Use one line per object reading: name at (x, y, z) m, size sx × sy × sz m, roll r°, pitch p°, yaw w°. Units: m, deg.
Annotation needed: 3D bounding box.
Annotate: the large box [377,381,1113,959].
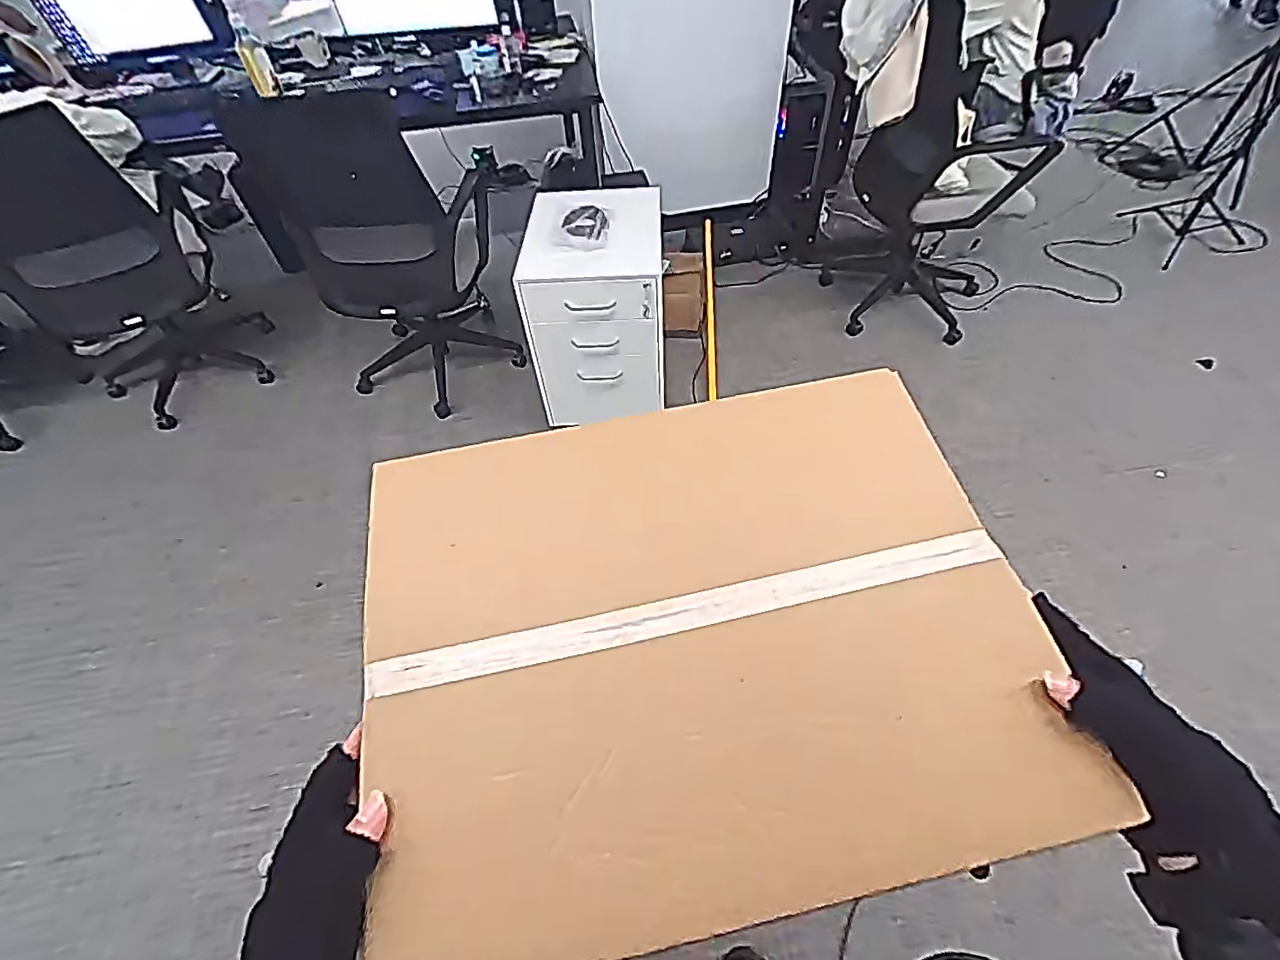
large box at (0.041, 0.162, 0.477) m, size 0.408 × 0.320 × 0.320 m, roll -12°, pitch 61°, yaw -4°
